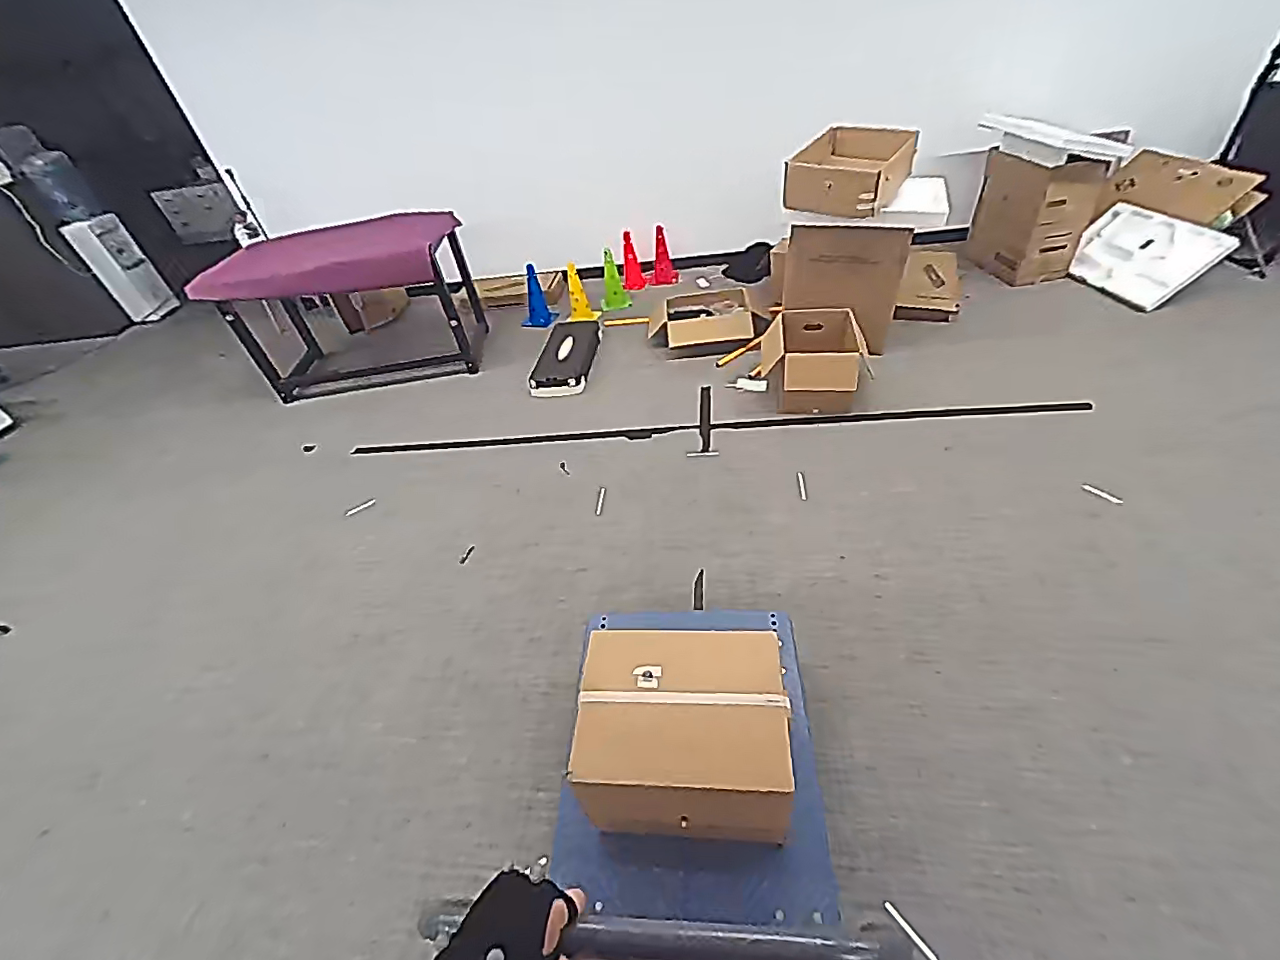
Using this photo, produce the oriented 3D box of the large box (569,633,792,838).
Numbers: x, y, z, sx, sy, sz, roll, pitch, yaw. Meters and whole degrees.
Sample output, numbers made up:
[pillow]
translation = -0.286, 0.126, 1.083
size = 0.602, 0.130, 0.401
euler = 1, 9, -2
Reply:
[large box]
translation = 0.099, 0.550, 1.167
size = 0.408, 0.320, 0.320
euler = -3, 41, 9
